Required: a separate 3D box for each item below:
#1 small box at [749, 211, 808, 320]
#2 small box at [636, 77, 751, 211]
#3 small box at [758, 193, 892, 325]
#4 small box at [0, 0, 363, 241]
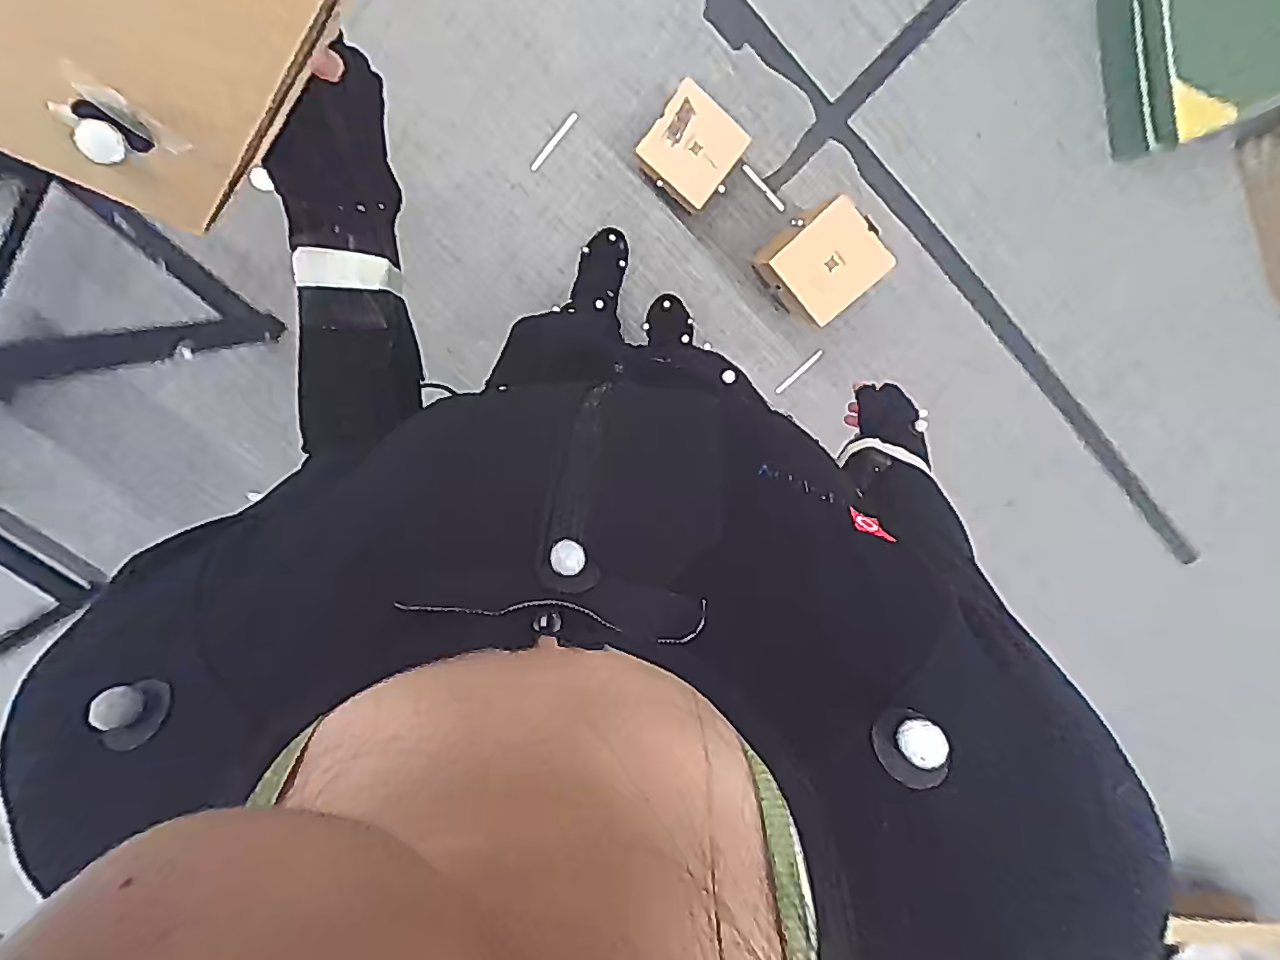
[{"bbox_3d":[0.375,-0.498,1.243,0.168,0.176,0.179,-40,107,15],"label":"small box"},{"bbox_3d":[0.109,-0.708,1.168,0.179,0.176,0.168,38,108,-13],"label":"small box"},{"bbox_3d":[0.361,-0.441,1.091,0.179,0.176,0.168,-40,104,17],"label":"small box"},{"bbox_3d":[-0.204,-0.230,0.181,0.179,0.176,0.168,-19,68,37],"label":"small box"}]
